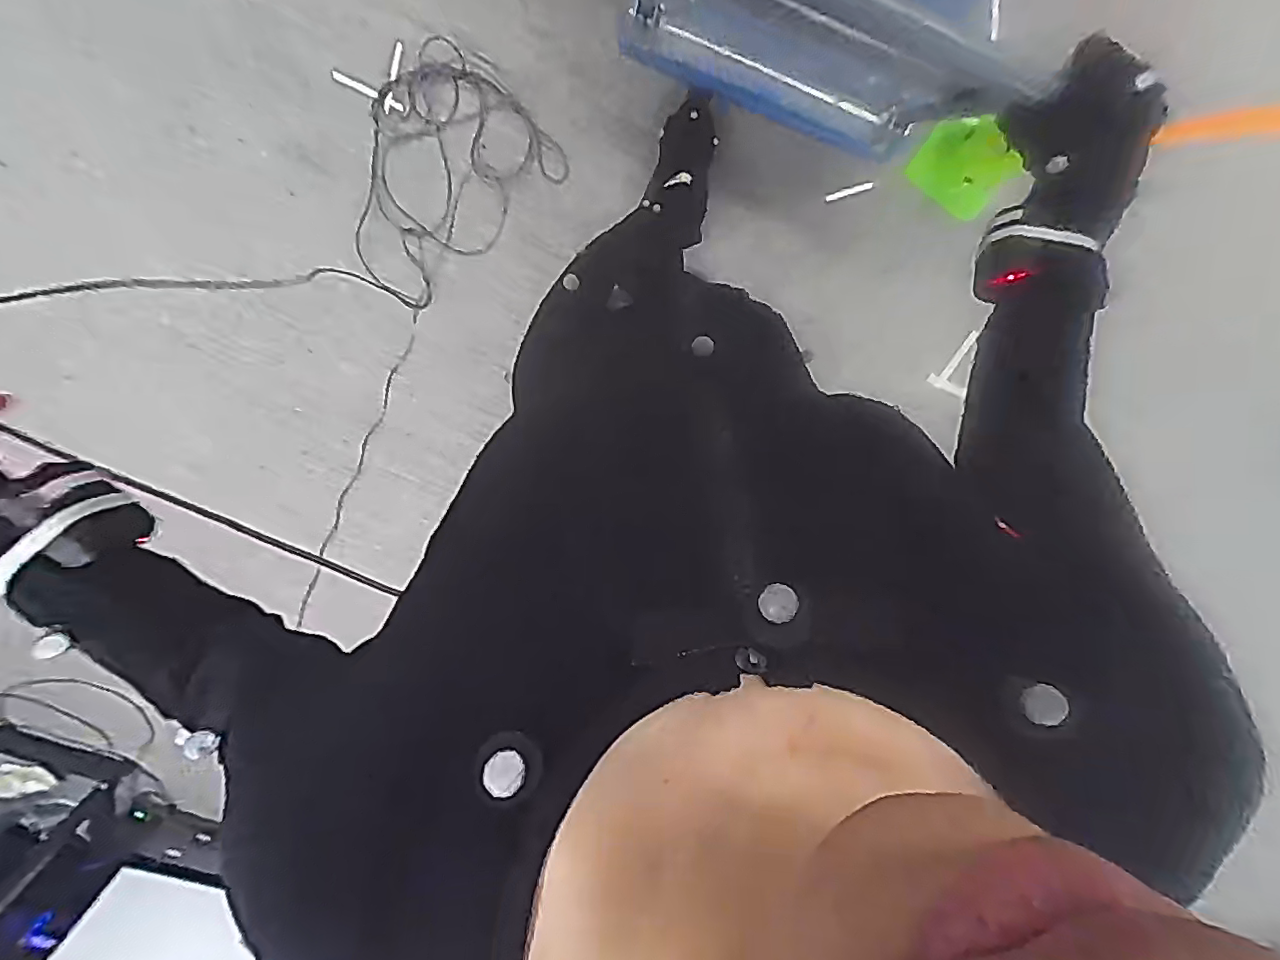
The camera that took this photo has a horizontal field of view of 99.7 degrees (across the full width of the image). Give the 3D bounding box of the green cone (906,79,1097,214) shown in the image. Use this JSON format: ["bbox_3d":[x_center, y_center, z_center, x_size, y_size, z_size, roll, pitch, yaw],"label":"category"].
[{"bbox_3d":[0.704,-0.634,1.018,0.202,0.368,0.200,26,115,-13],"label":"green cone"}]
